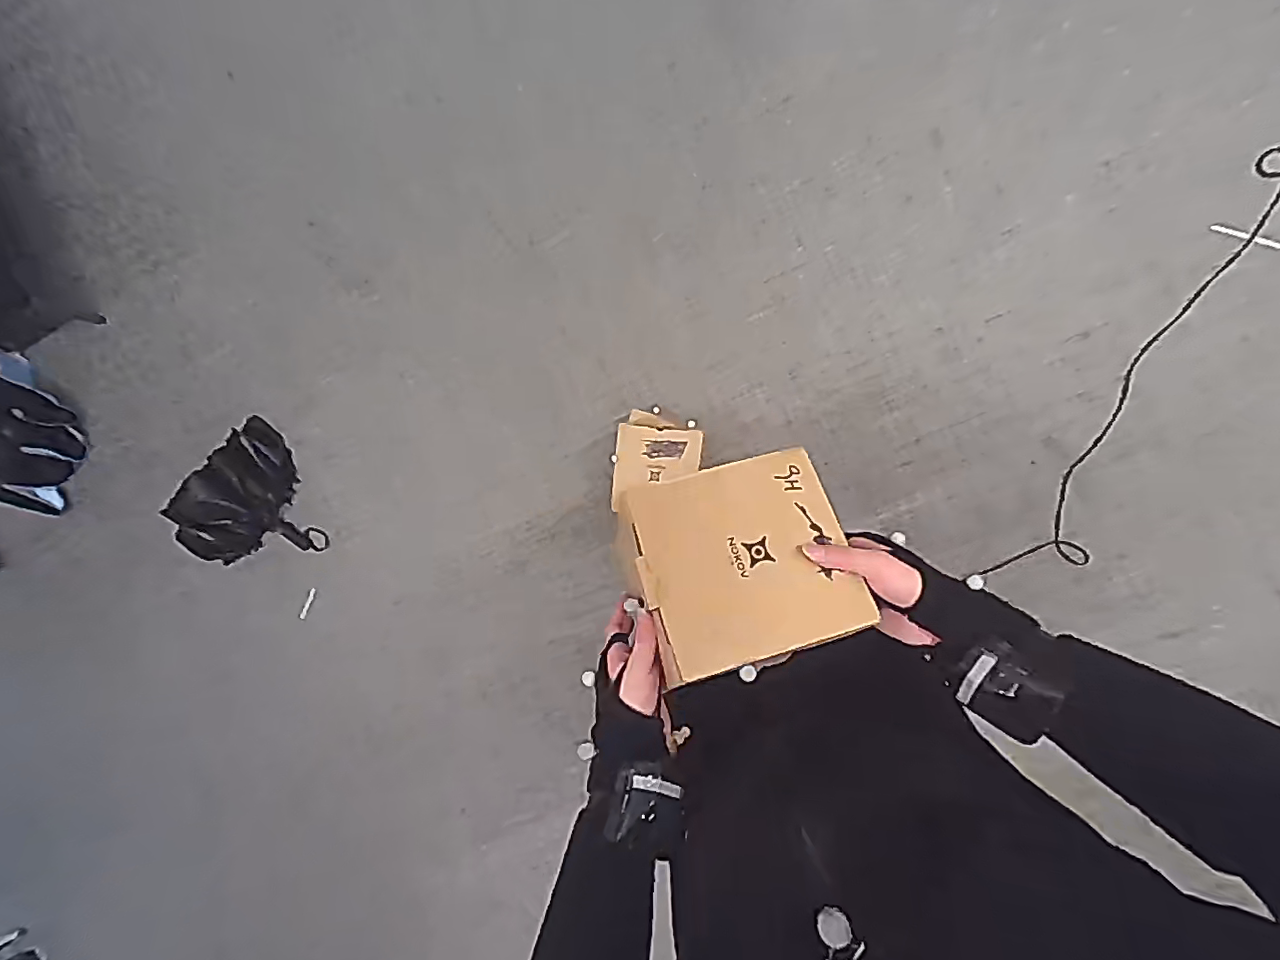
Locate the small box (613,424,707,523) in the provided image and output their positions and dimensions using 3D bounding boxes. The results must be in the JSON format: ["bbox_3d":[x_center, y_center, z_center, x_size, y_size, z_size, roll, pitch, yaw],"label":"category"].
[{"bbox_3d":[0.047,-0.021,1.114,0.168,0.176,0.179,7,99,9],"label":"small box"}]

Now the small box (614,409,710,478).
[{"bbox_3d":[0.057,-0.061,1.276,0.179,0.176,0.168,19,99,6],"label":"small box"}]
